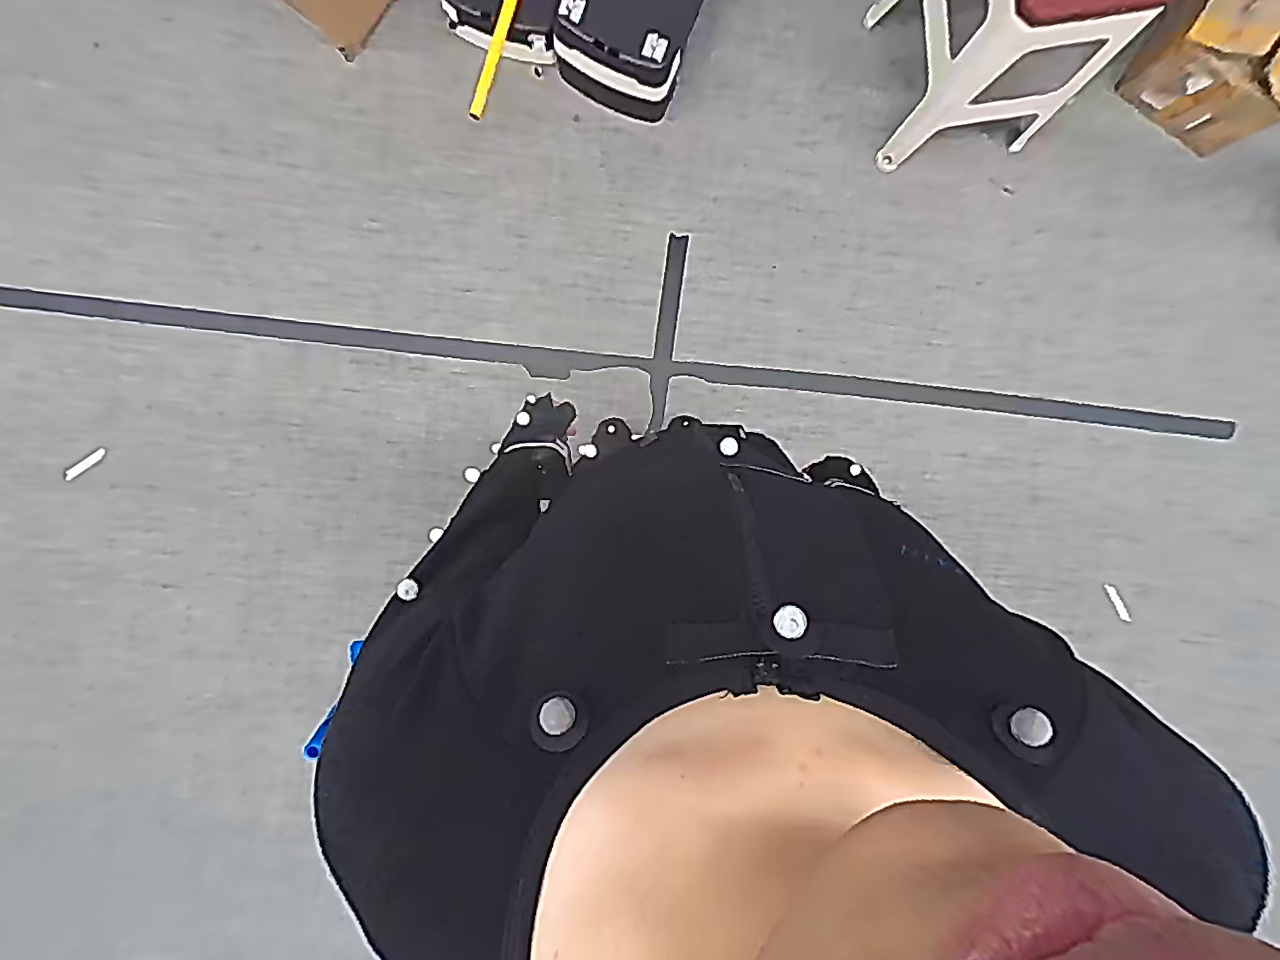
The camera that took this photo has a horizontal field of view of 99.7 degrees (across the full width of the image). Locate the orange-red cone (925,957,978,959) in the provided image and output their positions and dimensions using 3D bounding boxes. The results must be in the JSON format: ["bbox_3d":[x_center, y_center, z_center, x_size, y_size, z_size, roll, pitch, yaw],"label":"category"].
[{"bbox_3d":[0.961,1.587,1.507,0.198,0.360,0.199,2,95,-2],"label":"orange-red cone"}]
